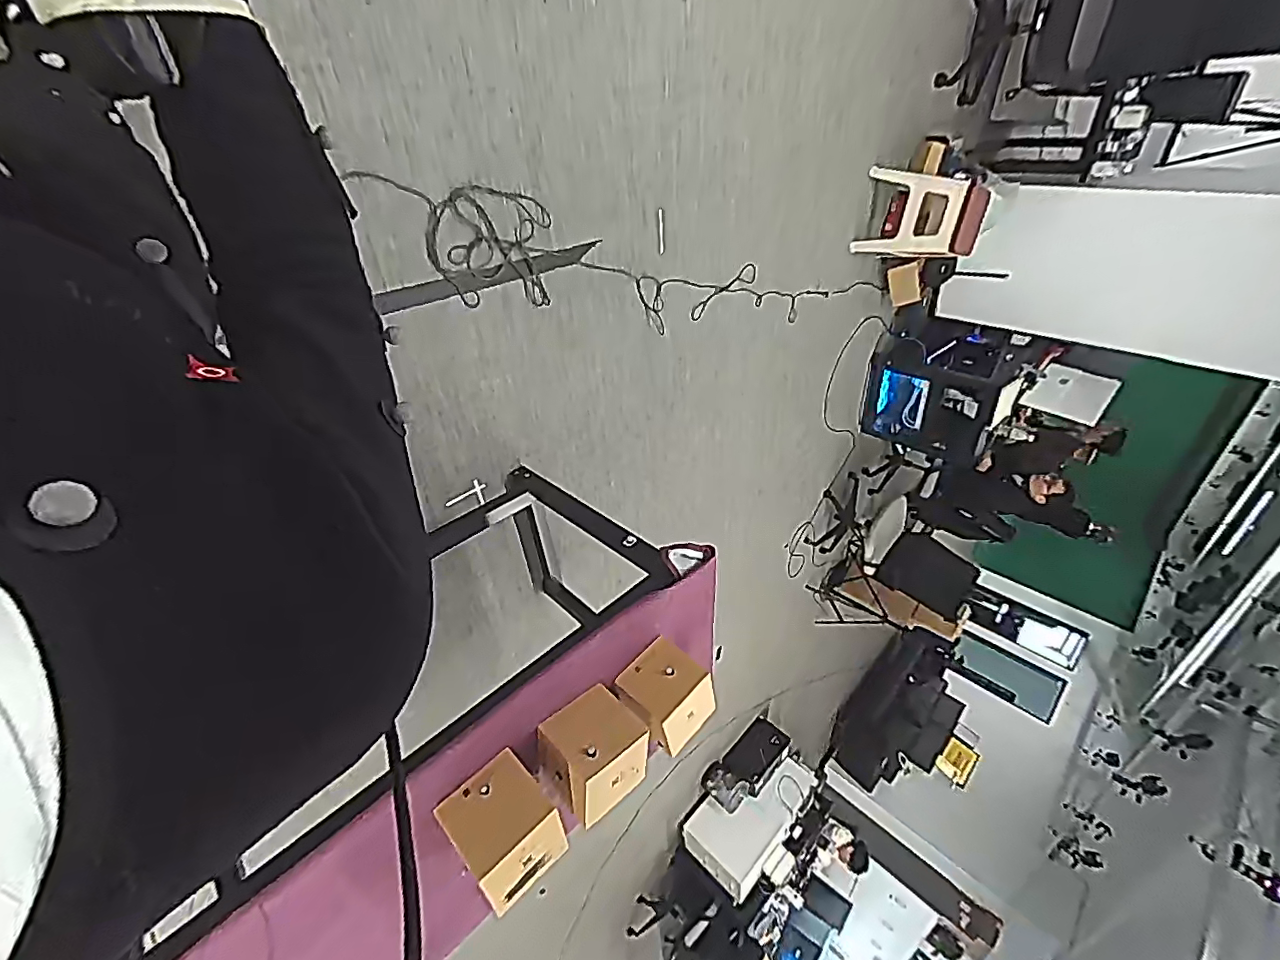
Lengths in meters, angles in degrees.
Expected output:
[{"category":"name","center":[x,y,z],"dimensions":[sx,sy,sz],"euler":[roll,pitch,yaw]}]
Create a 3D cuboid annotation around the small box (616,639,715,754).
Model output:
[{"category":"small box","center":[0.061,0.517,1.319],"dimensions":[0.168,0.176,0.179],"euler":[-38,136,-28]}]
